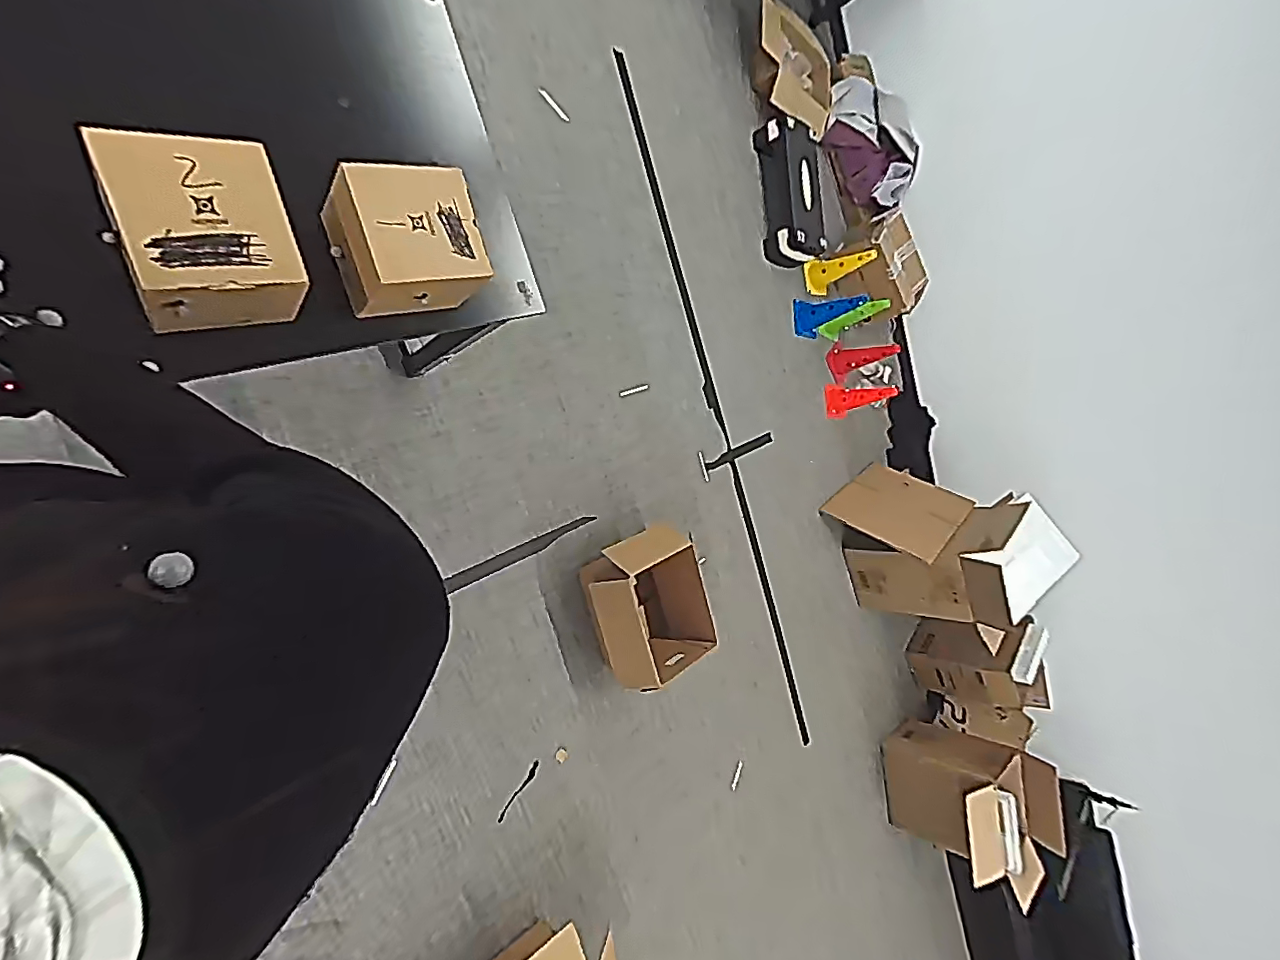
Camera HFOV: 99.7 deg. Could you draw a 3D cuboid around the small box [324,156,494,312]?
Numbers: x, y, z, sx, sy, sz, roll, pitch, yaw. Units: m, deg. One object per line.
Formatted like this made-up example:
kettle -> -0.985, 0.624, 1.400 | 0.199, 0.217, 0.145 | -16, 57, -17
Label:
small box -> -0.360, -0.373, 0.840 | 0.179, 0.176, 0.168 | -23, 101, -37
